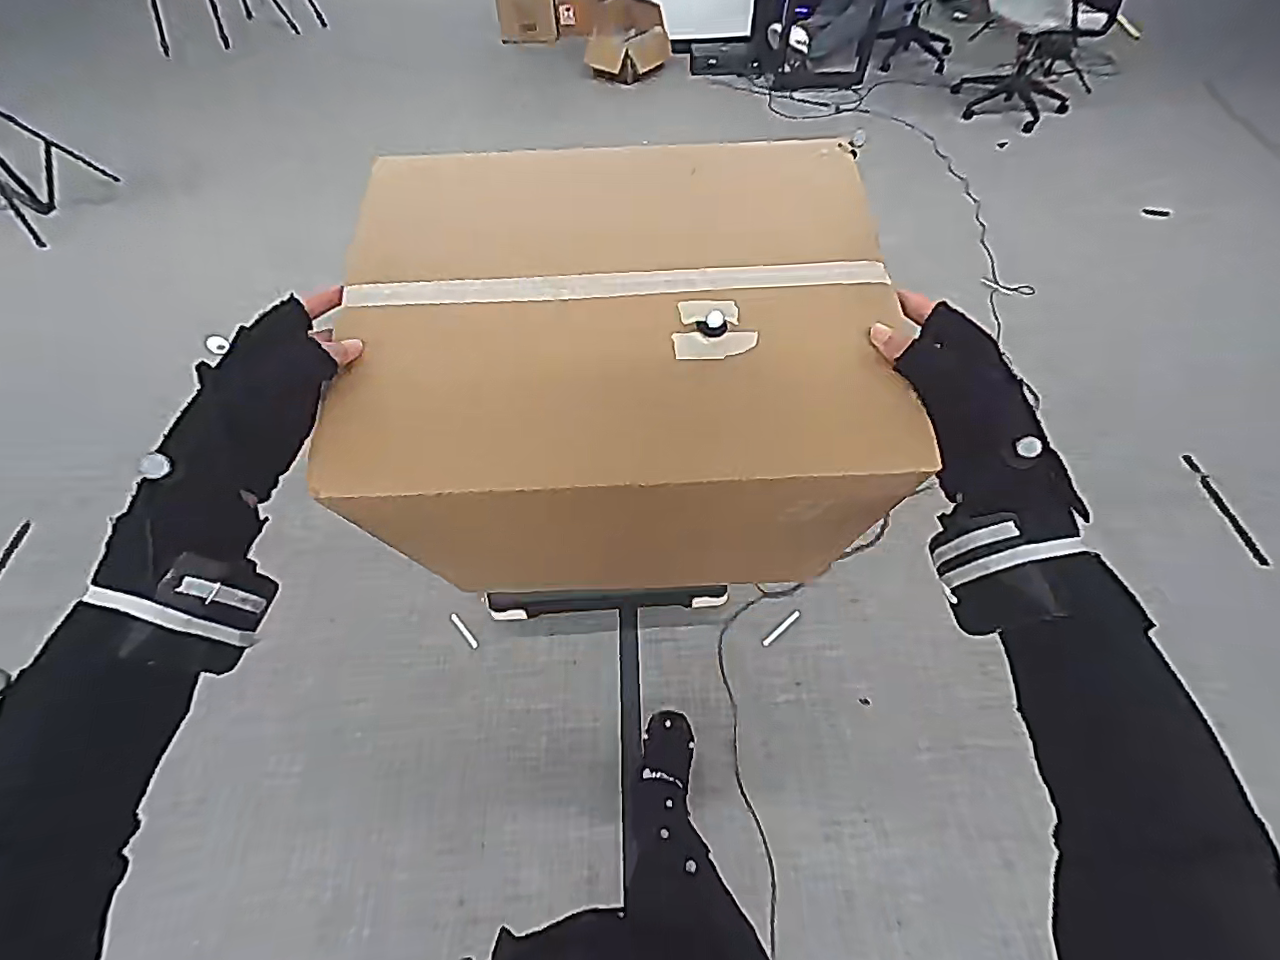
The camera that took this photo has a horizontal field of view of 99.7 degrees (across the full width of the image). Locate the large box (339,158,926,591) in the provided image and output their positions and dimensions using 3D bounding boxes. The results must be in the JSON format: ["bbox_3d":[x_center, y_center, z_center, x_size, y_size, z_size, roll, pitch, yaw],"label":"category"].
[{"bbox_3d":[-0.011,-0.079,0.554,0.408,0.320,0.320,-2,67,-1],"label":"large box"}]
